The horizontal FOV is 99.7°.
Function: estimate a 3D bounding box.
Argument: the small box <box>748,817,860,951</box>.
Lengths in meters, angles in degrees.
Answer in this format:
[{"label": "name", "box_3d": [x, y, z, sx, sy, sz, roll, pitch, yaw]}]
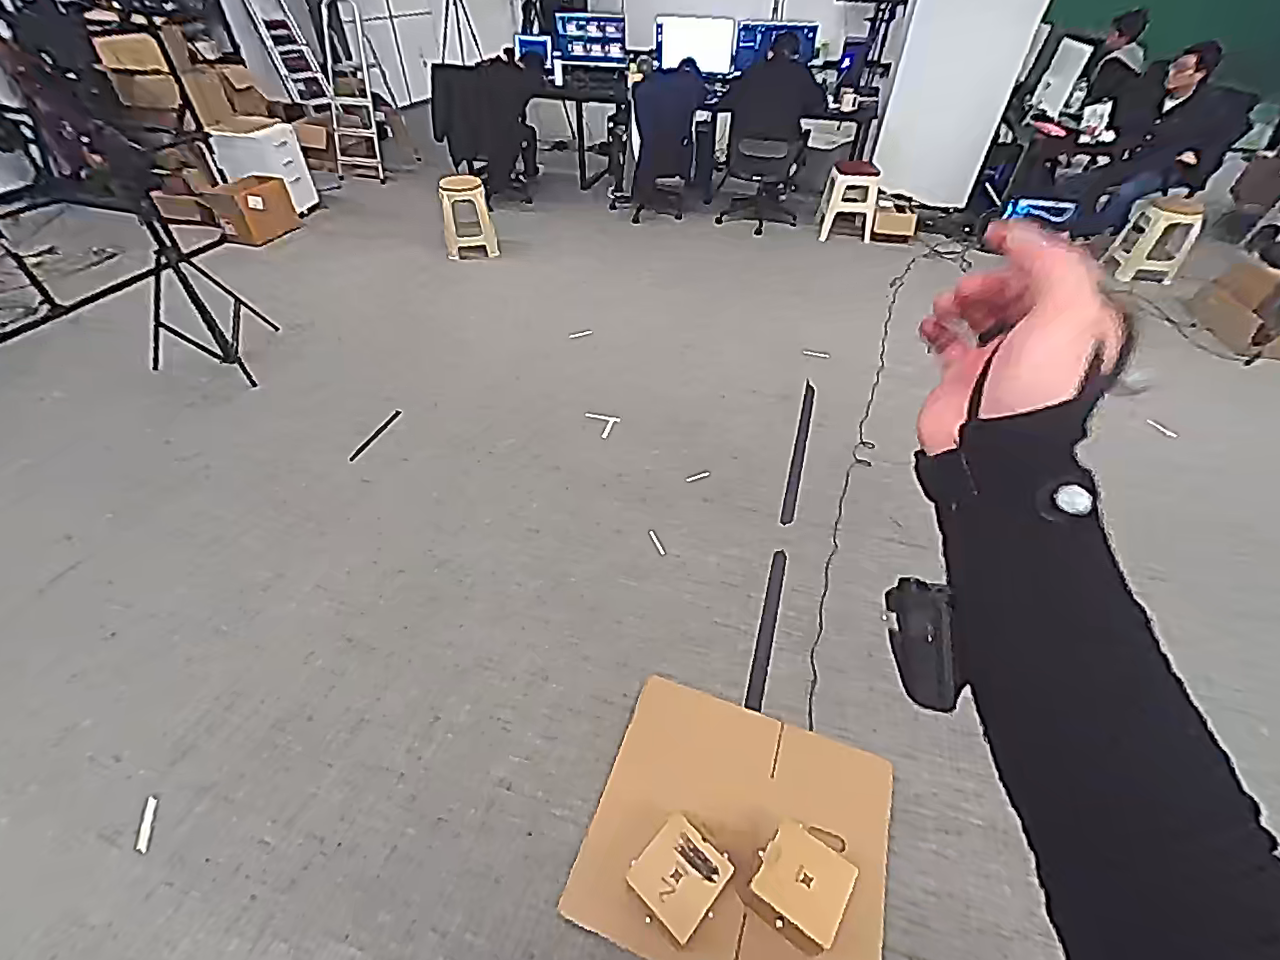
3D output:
[{"label": "small box", "box_3d": [0.359, 0.901, 1.204, 0.179, 0.176, 0.168, 25, 52, 27]}]
